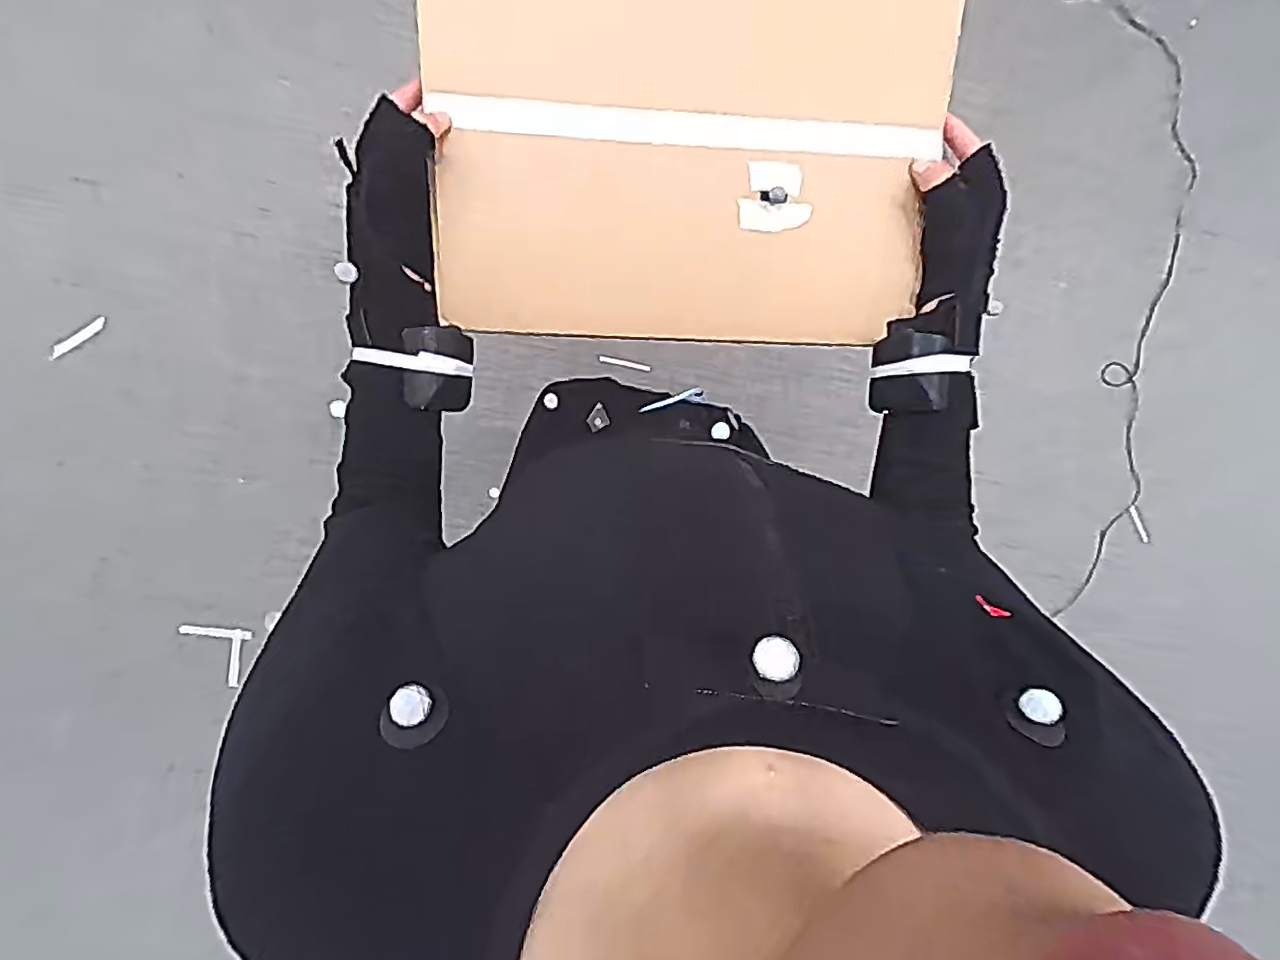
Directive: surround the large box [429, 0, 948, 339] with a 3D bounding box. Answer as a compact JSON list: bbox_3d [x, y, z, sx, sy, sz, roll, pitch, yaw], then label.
[{"bbox_3d":[0.025,-0.317,0.575,0.408,0.320,0.320,0,107,-7],"label":"large box"}]
